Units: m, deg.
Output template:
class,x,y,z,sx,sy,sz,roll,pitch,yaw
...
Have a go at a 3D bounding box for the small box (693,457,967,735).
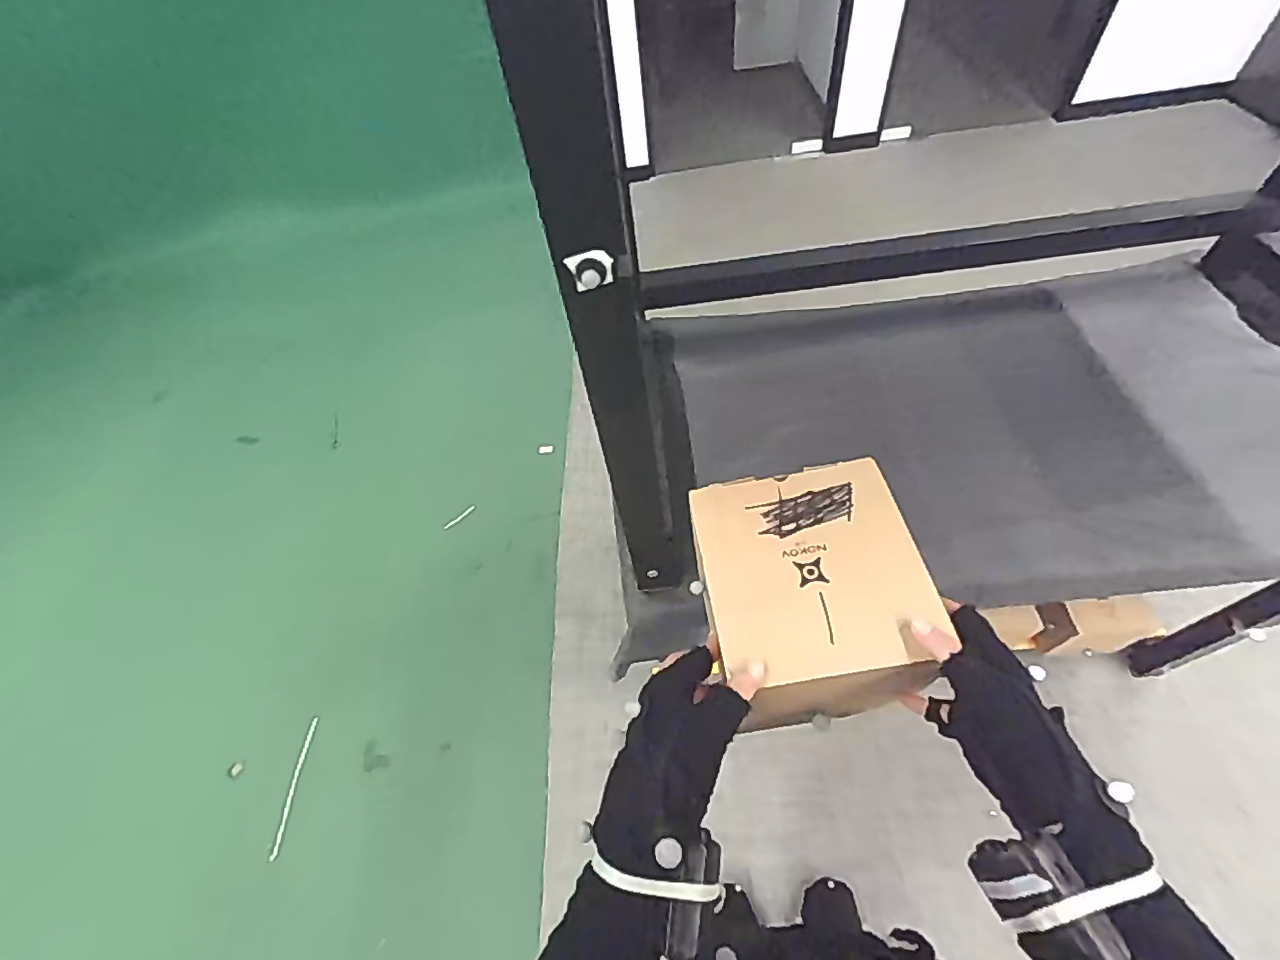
class,x,y,z,sx,sy,sz,roll,pitch,yaw
small box,0.146,0.109,0.485,0.168,0.176,0.179,-12,54,3
